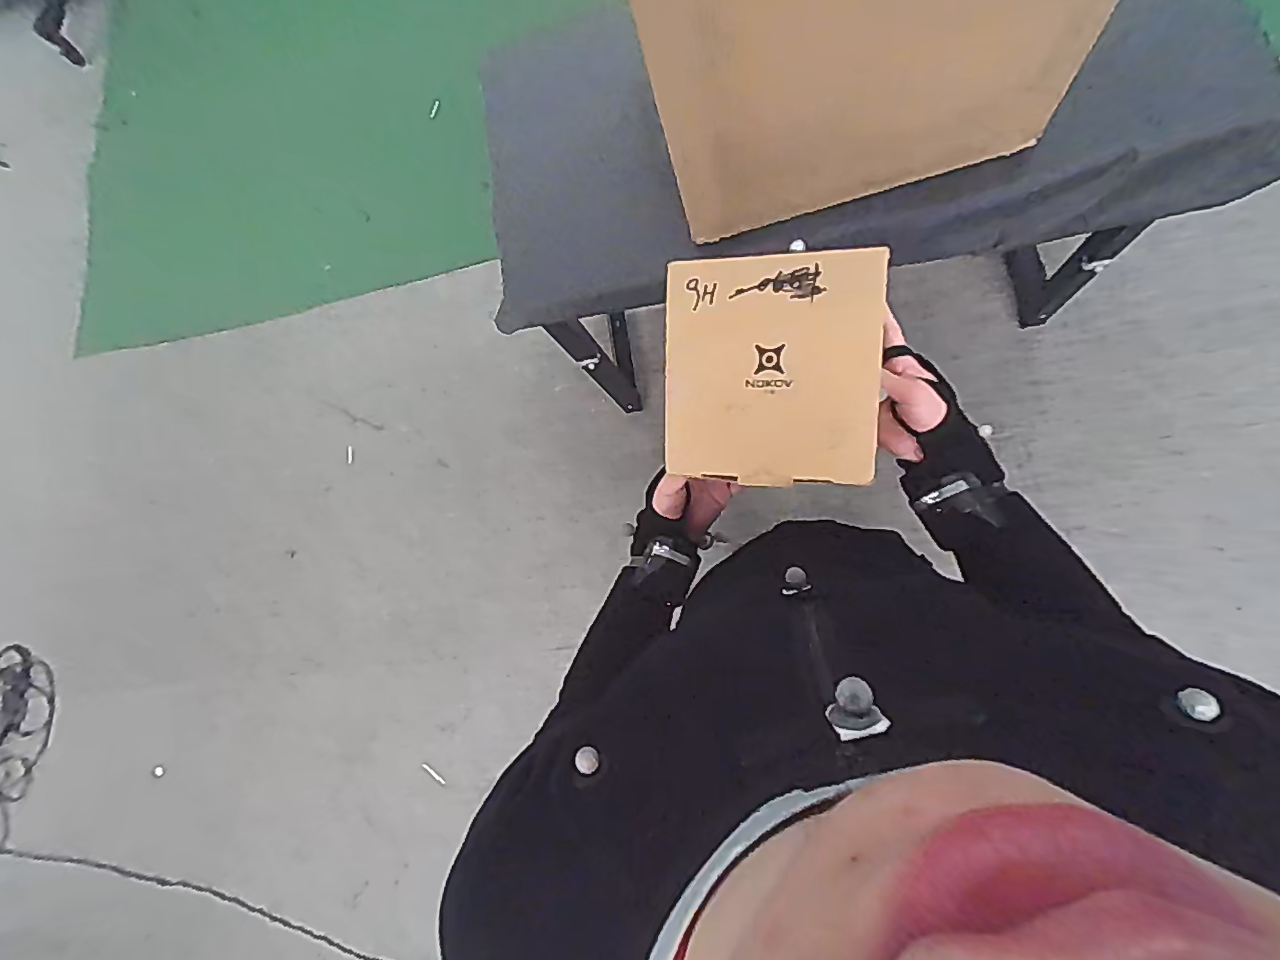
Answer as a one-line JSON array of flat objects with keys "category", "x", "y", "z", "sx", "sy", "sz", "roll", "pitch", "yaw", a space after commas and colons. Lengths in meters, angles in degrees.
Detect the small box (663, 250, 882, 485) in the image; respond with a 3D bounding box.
[{"category": "small box", "x": 0.120, "y": -0.098, "z": 0.500, "sx": 0.168, "sy": 0.176, "sz": 0.179, "roll": 2, "pitch": 100, "yaw": 16}]
